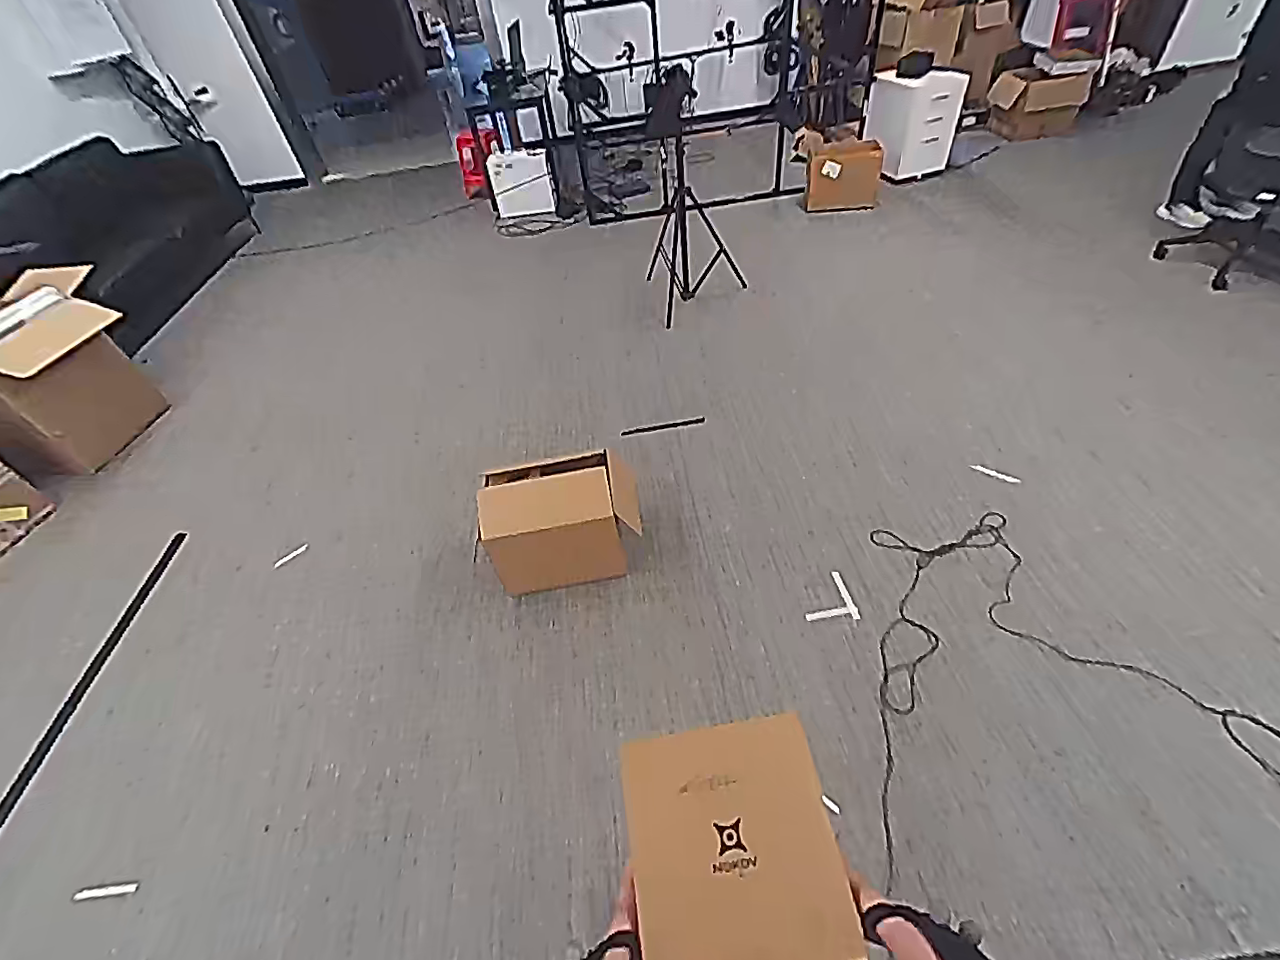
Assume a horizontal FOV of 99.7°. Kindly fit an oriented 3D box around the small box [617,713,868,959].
[{"bbox_3d":[0.078,0.335,0.494,0.168,0.176,0.179,-10,53,-2],"label":"small box"}]
